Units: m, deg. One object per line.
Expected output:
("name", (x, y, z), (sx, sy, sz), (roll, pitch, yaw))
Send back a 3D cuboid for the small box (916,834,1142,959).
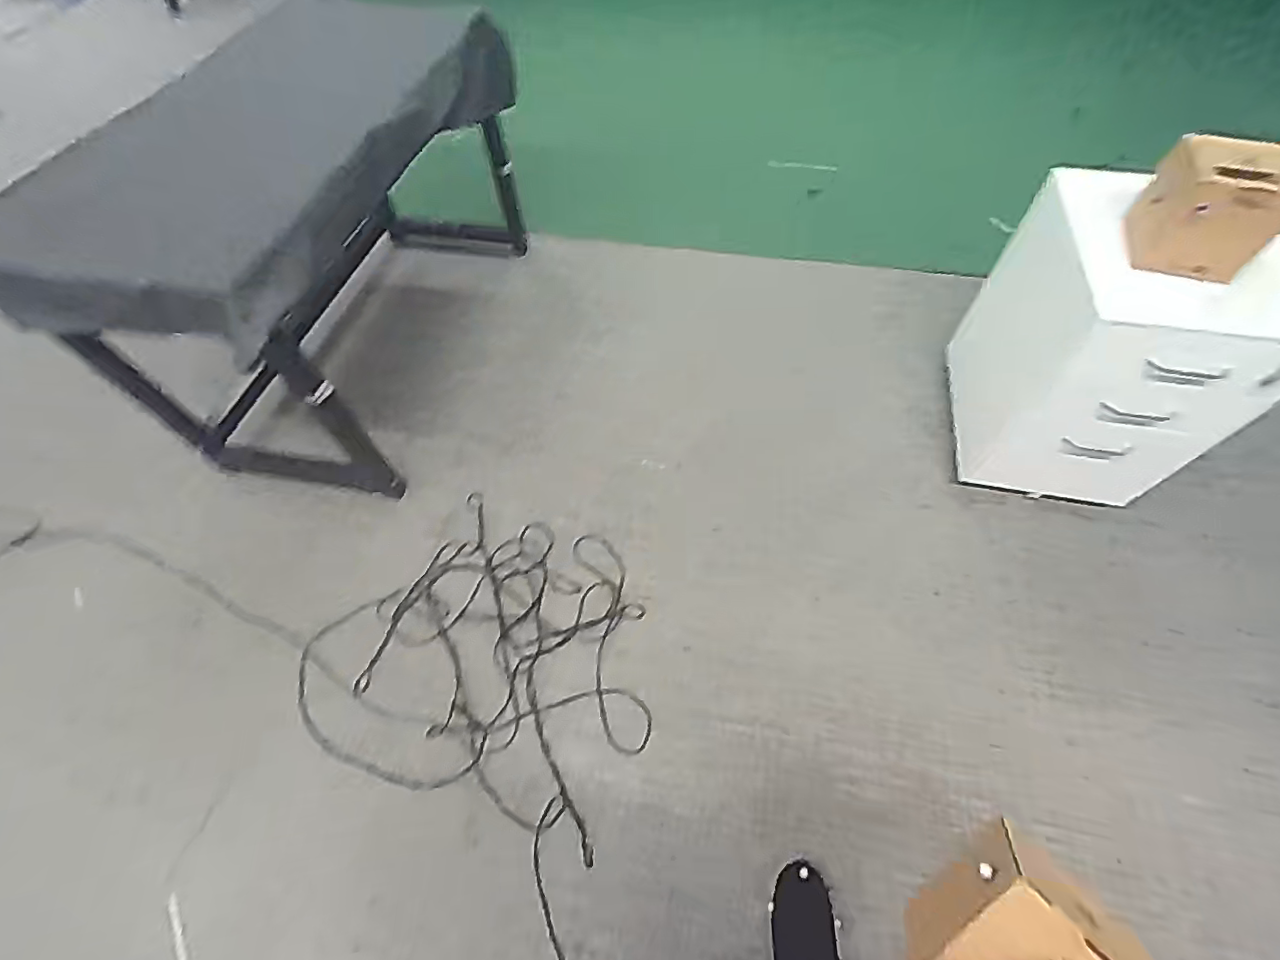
("small box", (0.407, 0.517, 0.552), (0.176, 0.179, 0.168), (-50, 60, 8))
